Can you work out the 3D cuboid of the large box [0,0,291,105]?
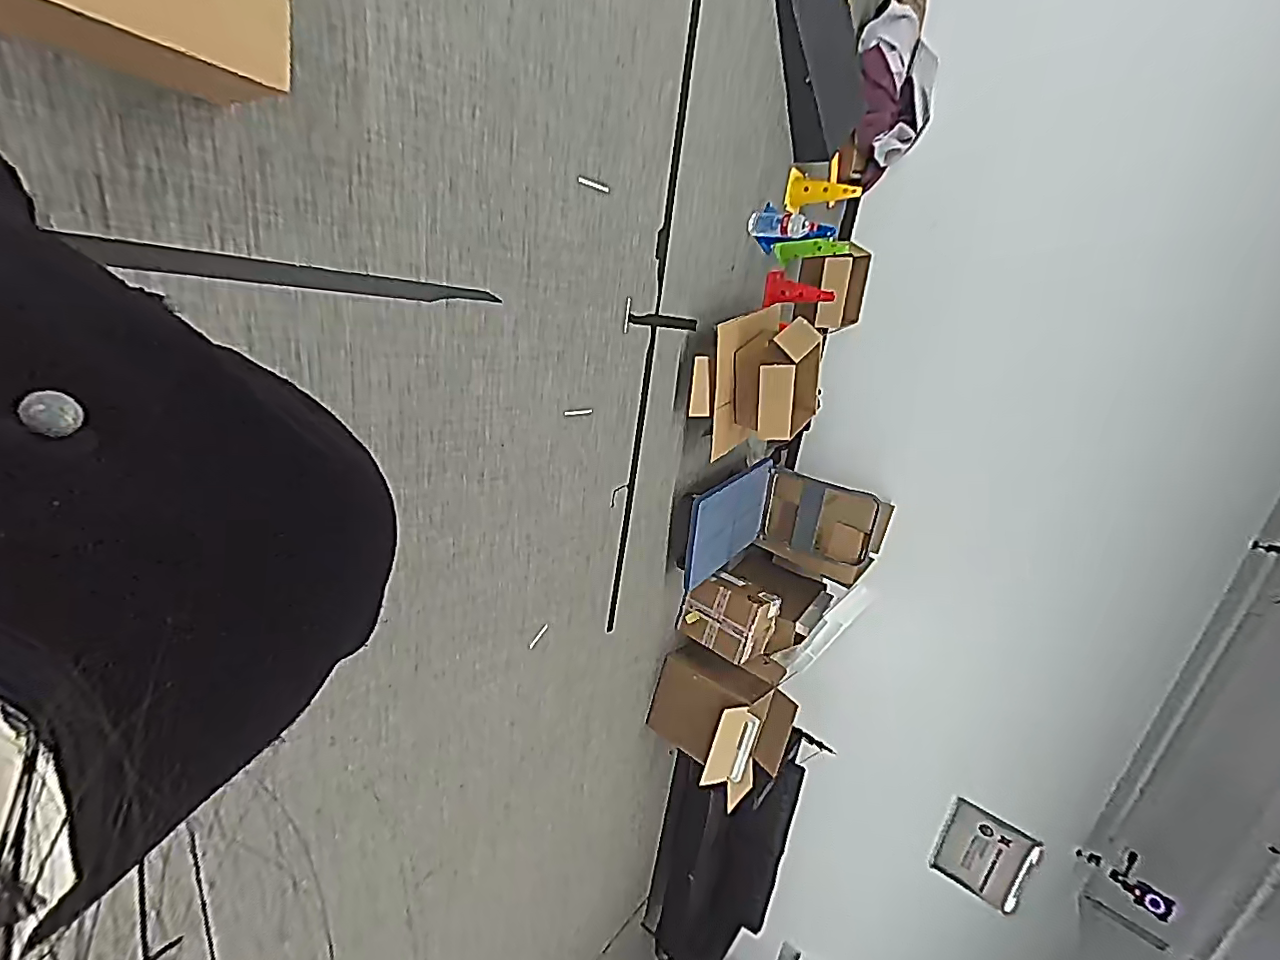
[{"bbox_3d":[-0.802,-0.813,0.793,0.408,0.320,0.320,-12,118,-53],"label":"large box"}]
